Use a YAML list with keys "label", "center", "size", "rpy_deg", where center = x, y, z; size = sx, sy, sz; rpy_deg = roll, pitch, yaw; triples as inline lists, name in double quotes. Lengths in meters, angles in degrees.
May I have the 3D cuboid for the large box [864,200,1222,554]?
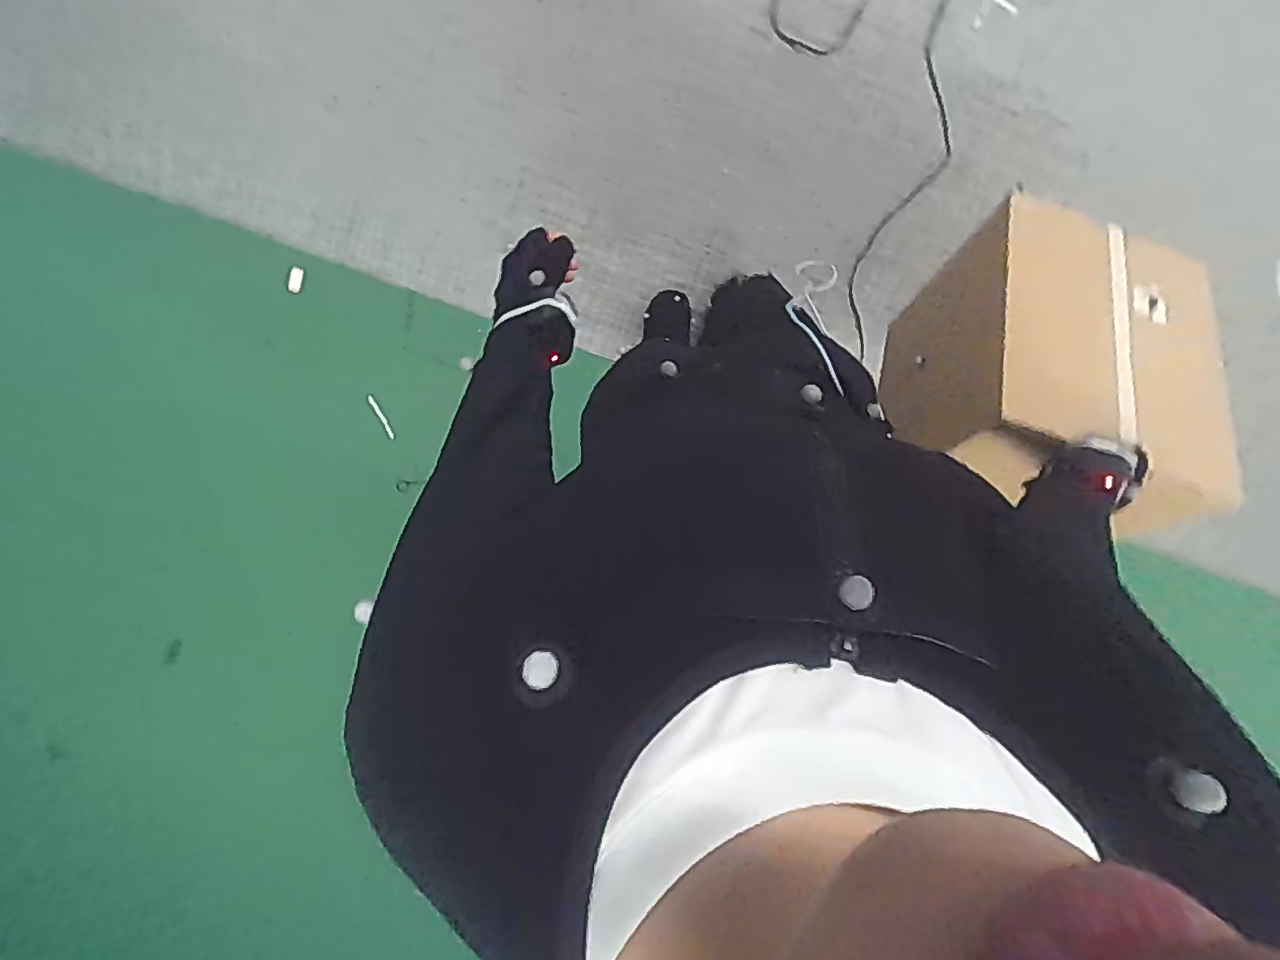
- label: "large box"
  center: [0.593, -0.143, 0.866]
  size: [0.320, 0.320, 0.408]
  rpy_deg: [19, 66, -2]
